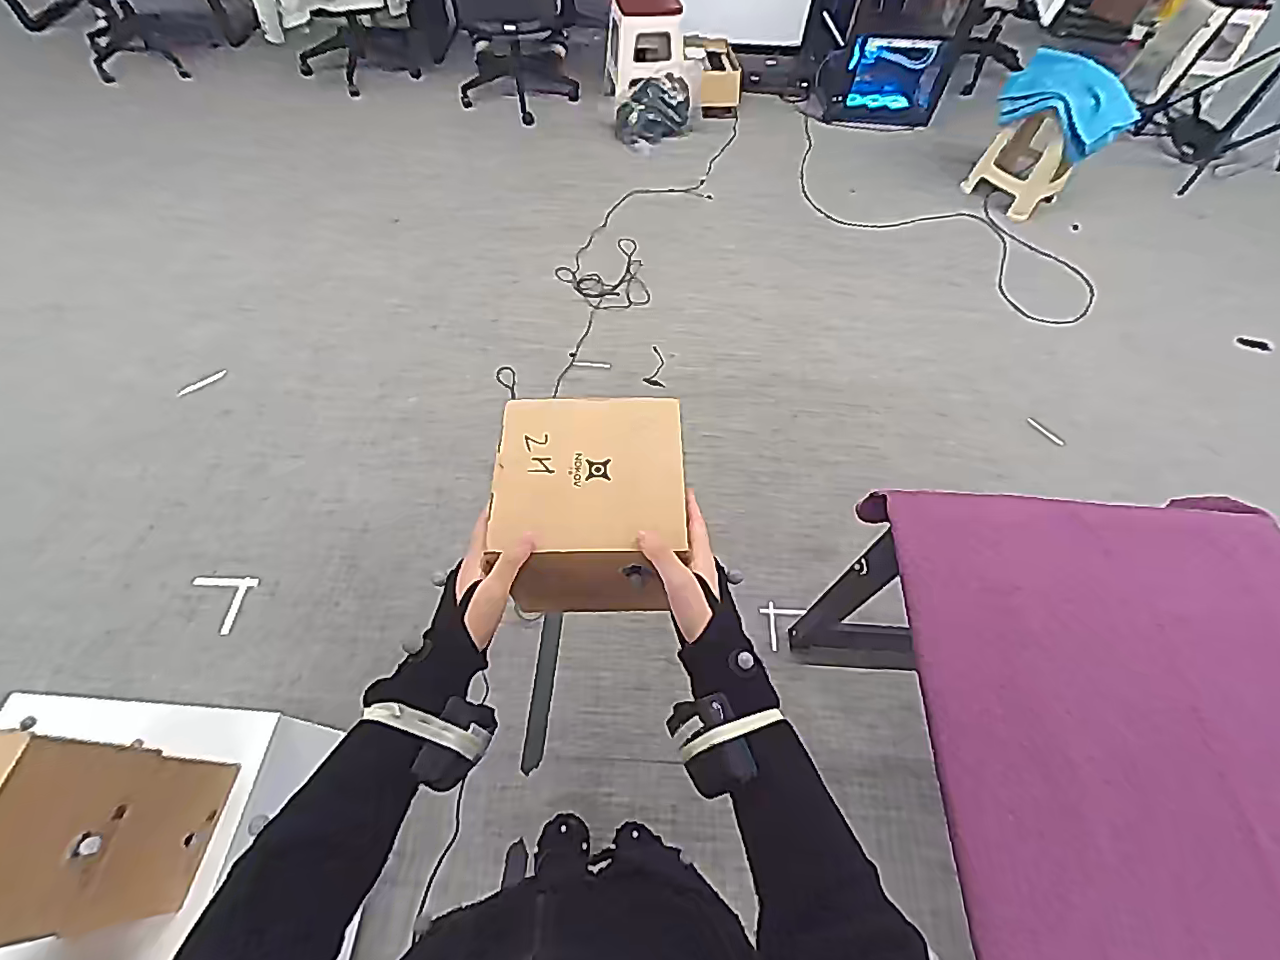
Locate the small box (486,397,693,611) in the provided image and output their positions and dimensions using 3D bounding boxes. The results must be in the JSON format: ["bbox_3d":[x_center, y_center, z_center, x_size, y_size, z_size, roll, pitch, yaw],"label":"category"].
[{"bbox_3d":[-0.042,0.031,0.560,0.179,0.176,0.168,-1,59,0],"label":"small box"}]

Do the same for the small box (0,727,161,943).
[{"bbox_3d":[-0.628,0.326,0.507,0.179,0.176,0.168,6,59,0],"label":"small box"}]
